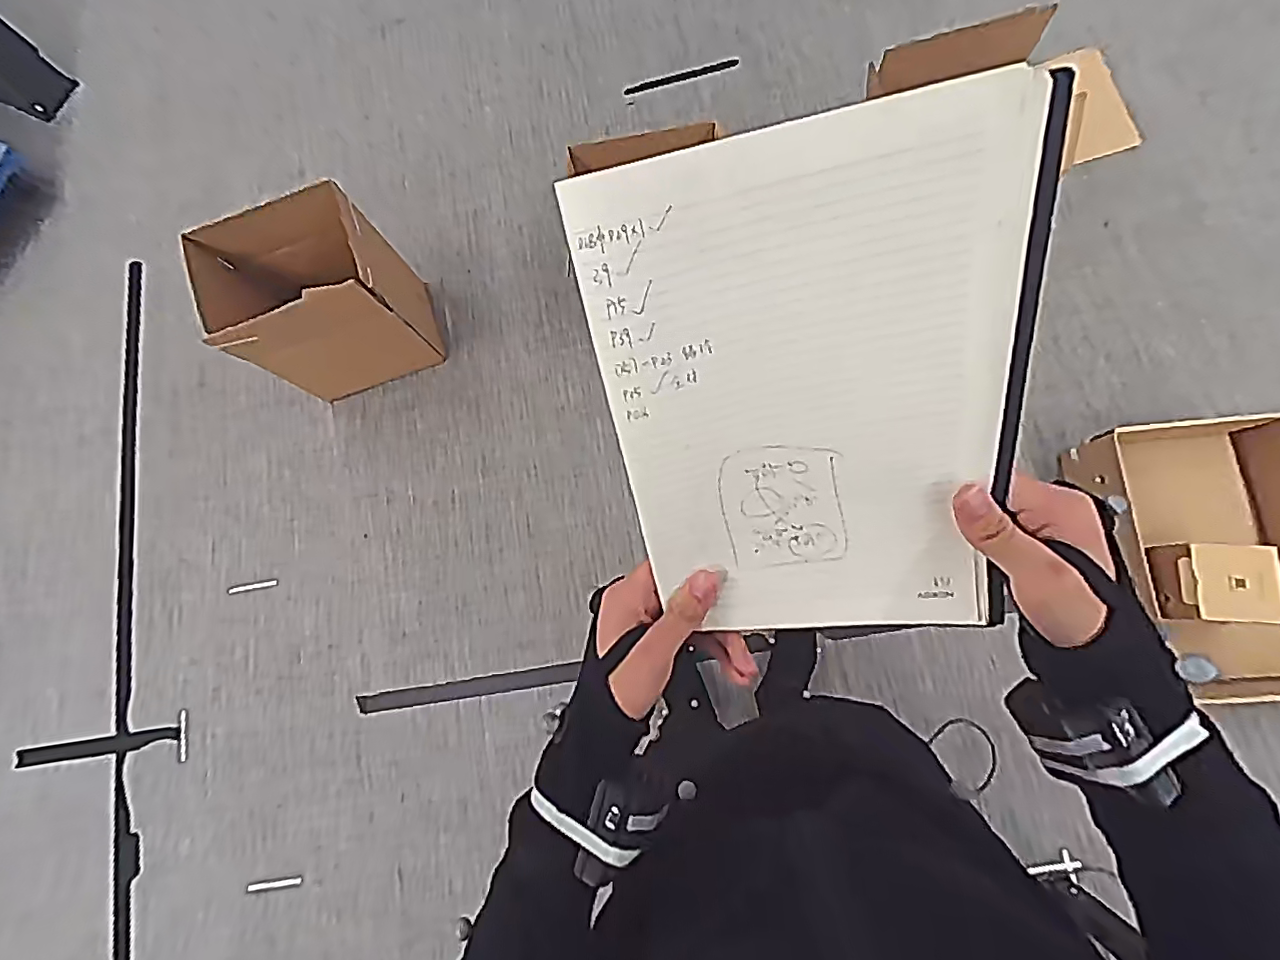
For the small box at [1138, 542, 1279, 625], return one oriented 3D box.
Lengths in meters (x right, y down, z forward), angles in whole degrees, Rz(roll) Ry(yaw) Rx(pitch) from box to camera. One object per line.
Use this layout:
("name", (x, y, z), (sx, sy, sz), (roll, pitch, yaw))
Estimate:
("small box", (1.282, 0.236, 1.225), (0.179, 0.176, 0.168), (2, 78, 7))
